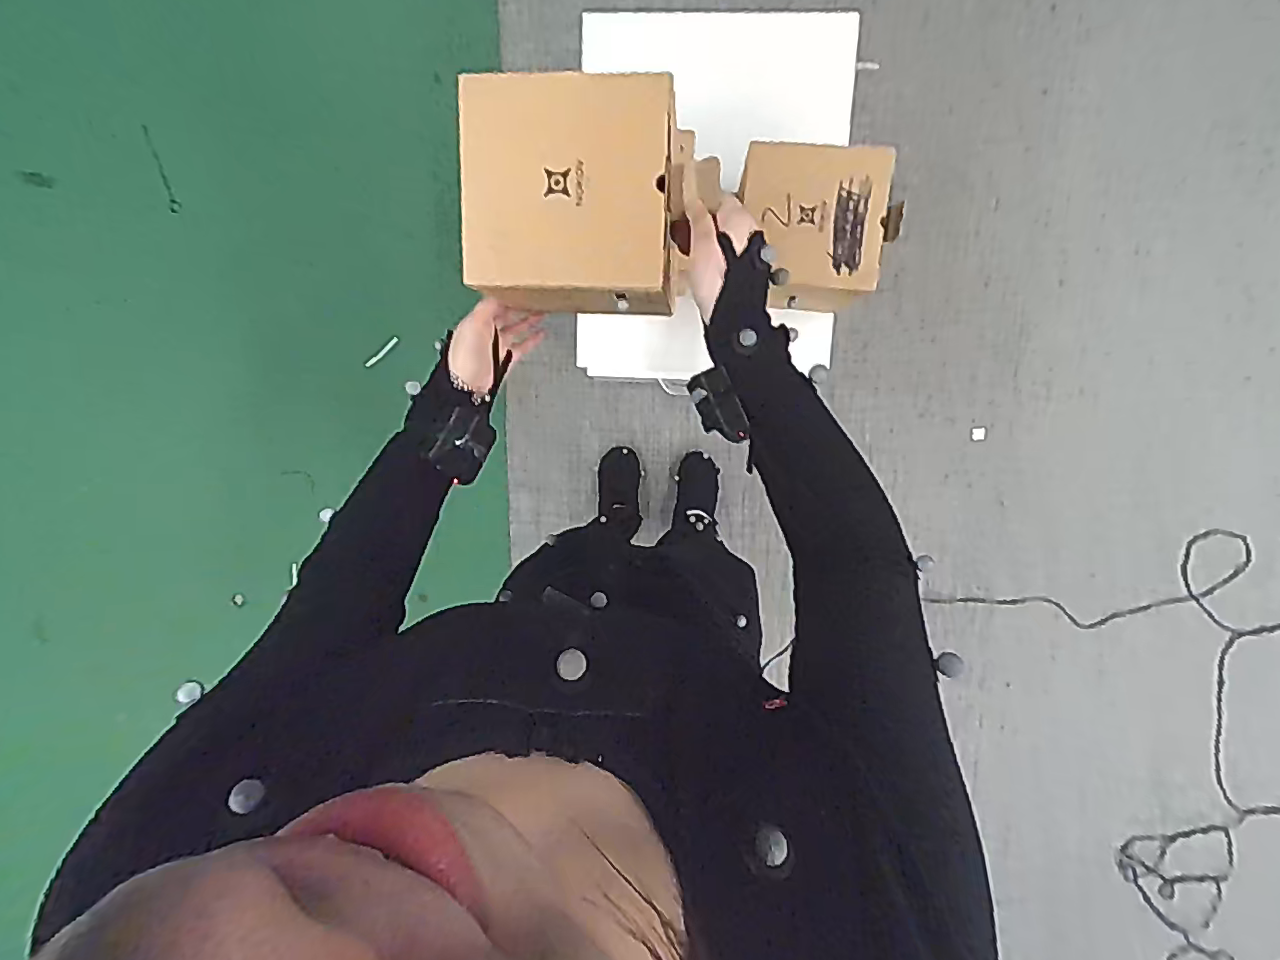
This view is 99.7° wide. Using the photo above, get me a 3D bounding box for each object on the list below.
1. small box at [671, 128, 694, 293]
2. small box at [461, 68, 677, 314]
[{"bbox_3d":[-0.020,-0.359,0.748,0.179,0.176,0.168,2,98,1],"label":"small box"},{"bbox_3d":[-0.056,-0.259,0.524,0.179,0.176,0.168,2,98,4],"label":"small box"}]
